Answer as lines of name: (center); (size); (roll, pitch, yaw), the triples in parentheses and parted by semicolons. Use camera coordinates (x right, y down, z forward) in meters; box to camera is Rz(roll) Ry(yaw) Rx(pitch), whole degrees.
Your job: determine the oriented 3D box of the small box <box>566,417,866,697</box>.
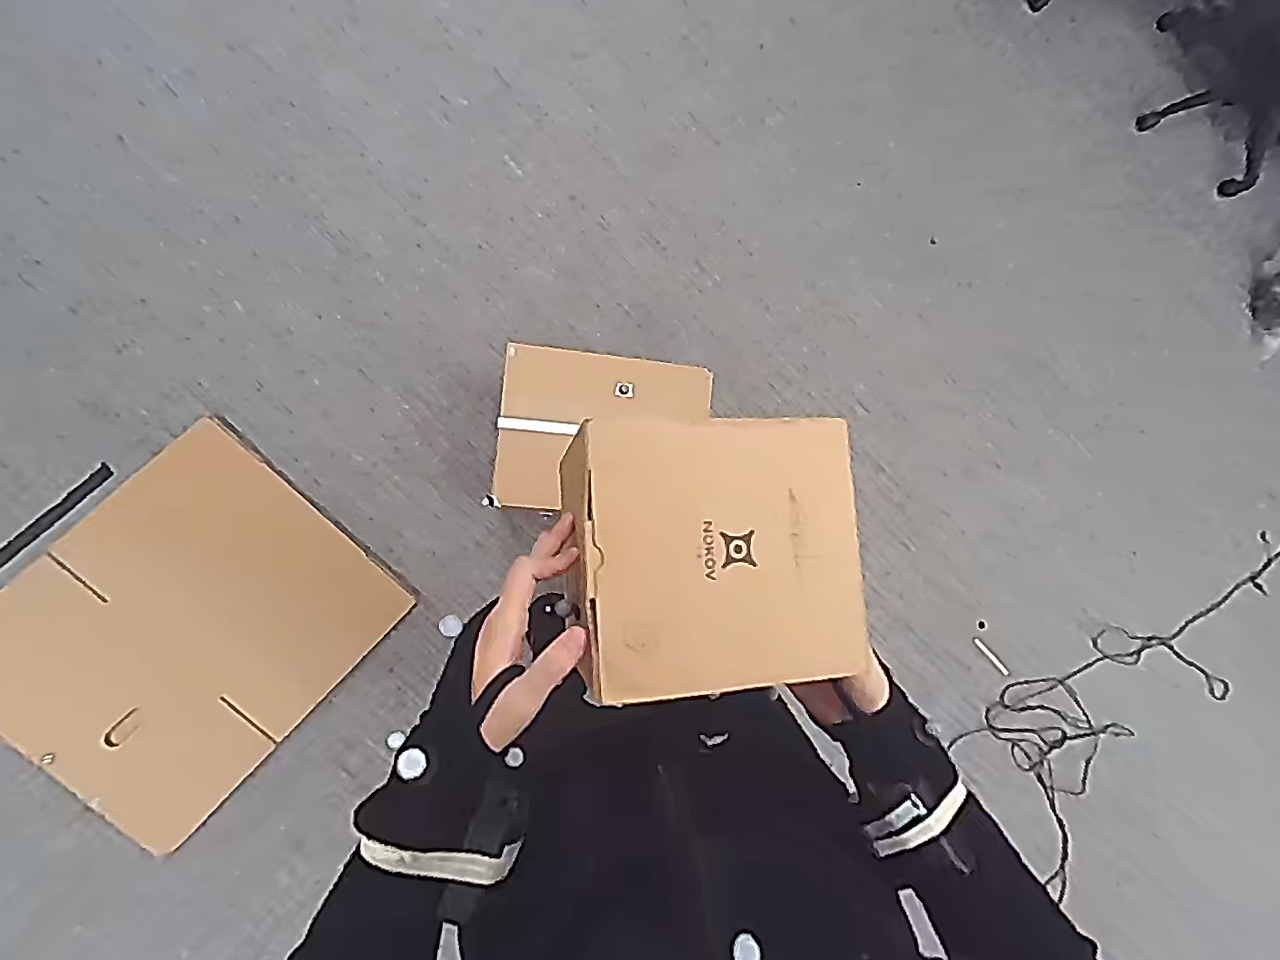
small box: (0.037, 0.051, 0.410); (0.179, 0.176, 0.168); (-2, 84, -14)
